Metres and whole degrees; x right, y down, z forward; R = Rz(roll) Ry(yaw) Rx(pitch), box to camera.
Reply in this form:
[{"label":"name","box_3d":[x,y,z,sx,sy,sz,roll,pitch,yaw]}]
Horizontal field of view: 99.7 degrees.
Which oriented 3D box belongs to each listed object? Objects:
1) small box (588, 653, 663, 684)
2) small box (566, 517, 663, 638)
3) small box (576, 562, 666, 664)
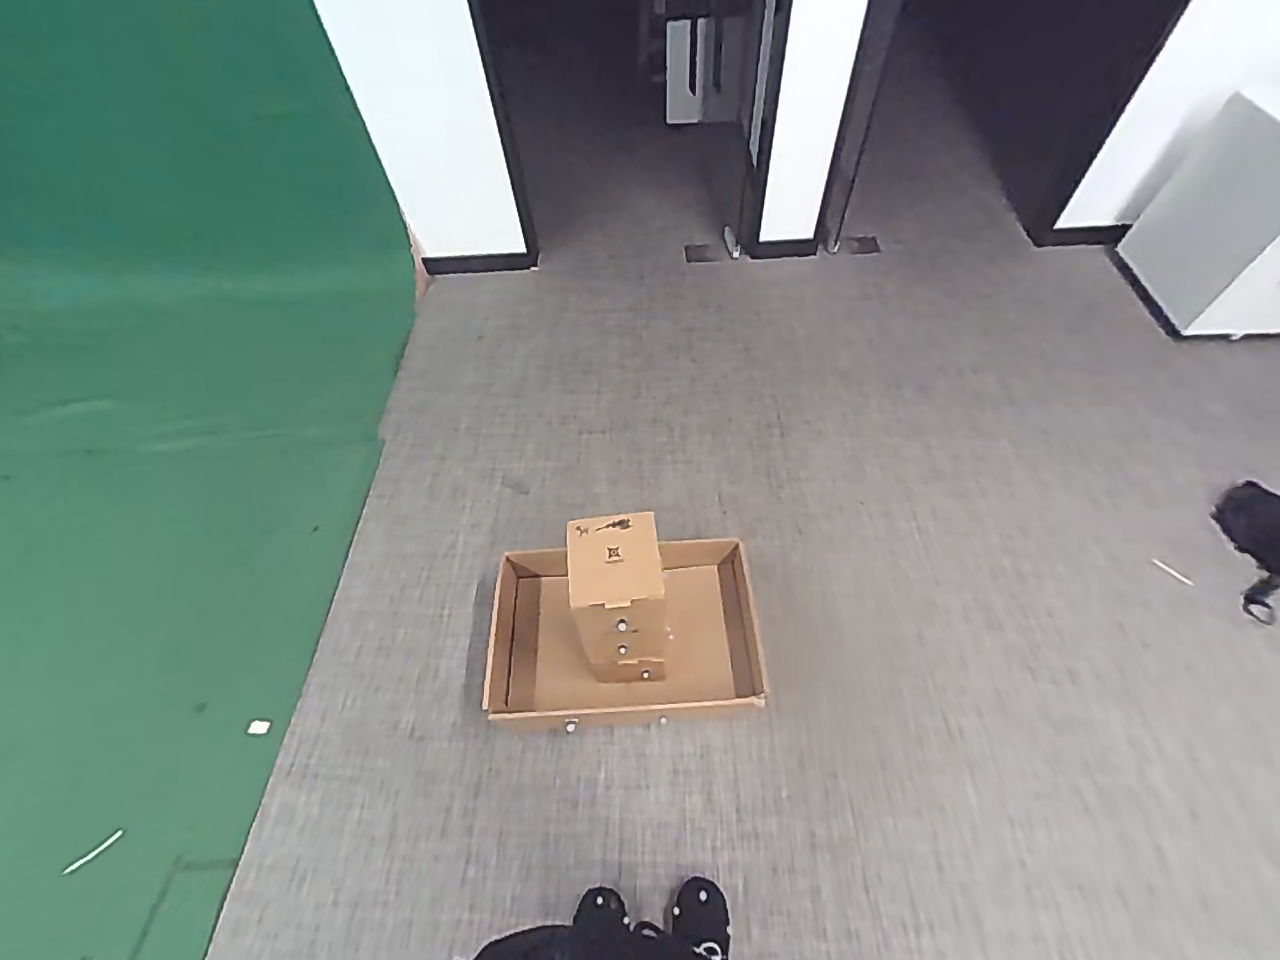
[{"label":"small box","box_3d":[-0.029,0.382,1.295,0.168,0.176,0.179,-2,53,2]},{"label":"small box","box_3d":[-0.046,0.192,1.029,0.168,0.176,0.179,-6,55,0]},{"label":"small box","box_3d":[-0.036,0.288,1.161,0.179,0.176,0.168,-4,55,1]}]
